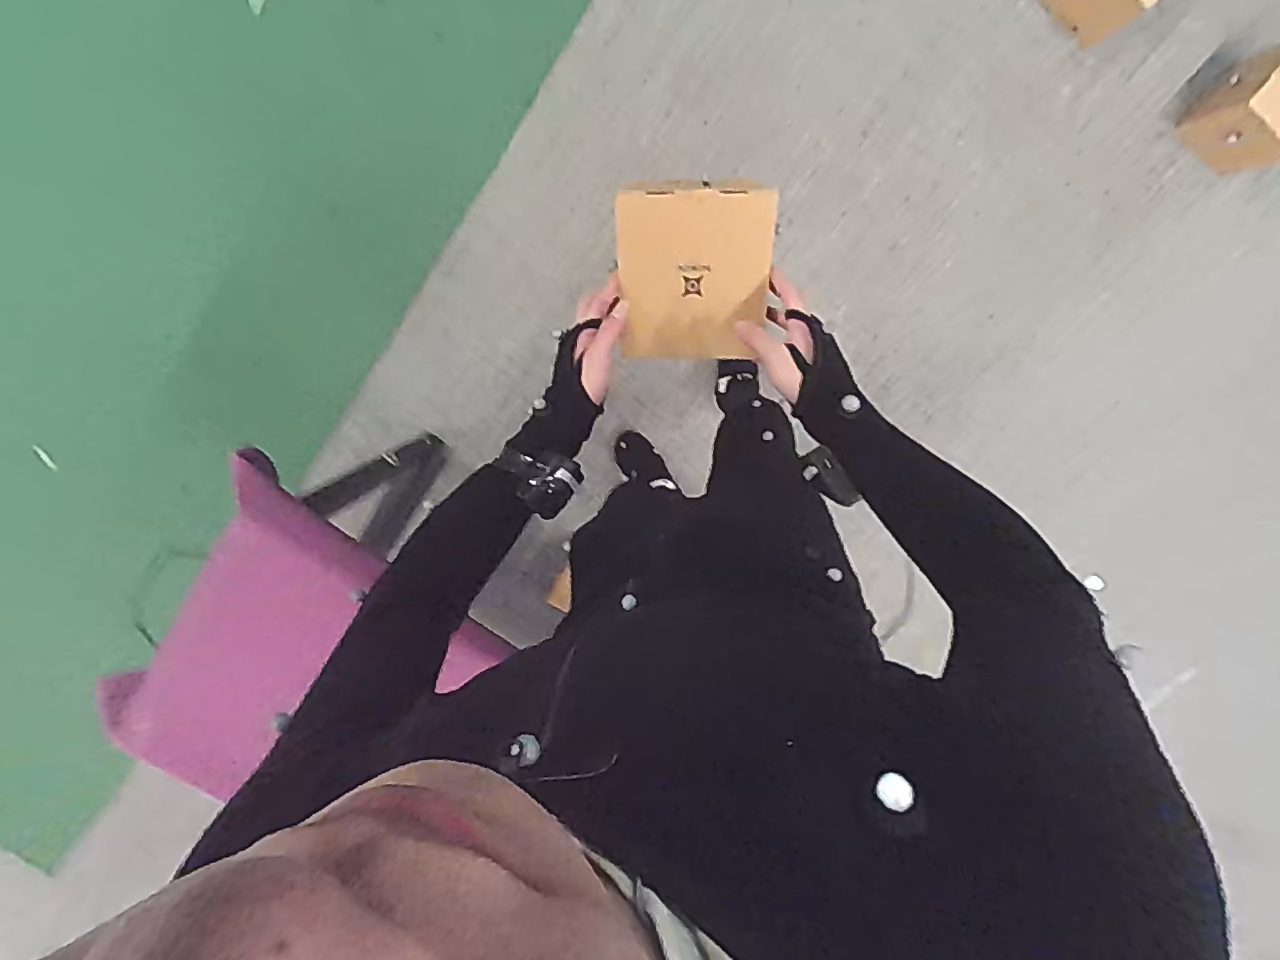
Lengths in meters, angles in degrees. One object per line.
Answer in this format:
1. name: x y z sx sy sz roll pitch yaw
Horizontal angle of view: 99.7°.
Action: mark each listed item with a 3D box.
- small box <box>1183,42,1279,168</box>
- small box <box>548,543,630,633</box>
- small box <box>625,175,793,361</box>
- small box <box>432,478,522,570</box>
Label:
1. small box: 1.361 -0.815 1.170 0.179 0.176 0.168 37 105 -7
2. small box: -0.143 0.308 1.590 0.179 0.176 0.168 29 107 -7
3. small box: 0.072 -0.254 0.636 0.168 0.176 0.179 2 121 3
4. small box: -0.456 0.118 1.548 0.168 0.176 0.179 33 106 -7
